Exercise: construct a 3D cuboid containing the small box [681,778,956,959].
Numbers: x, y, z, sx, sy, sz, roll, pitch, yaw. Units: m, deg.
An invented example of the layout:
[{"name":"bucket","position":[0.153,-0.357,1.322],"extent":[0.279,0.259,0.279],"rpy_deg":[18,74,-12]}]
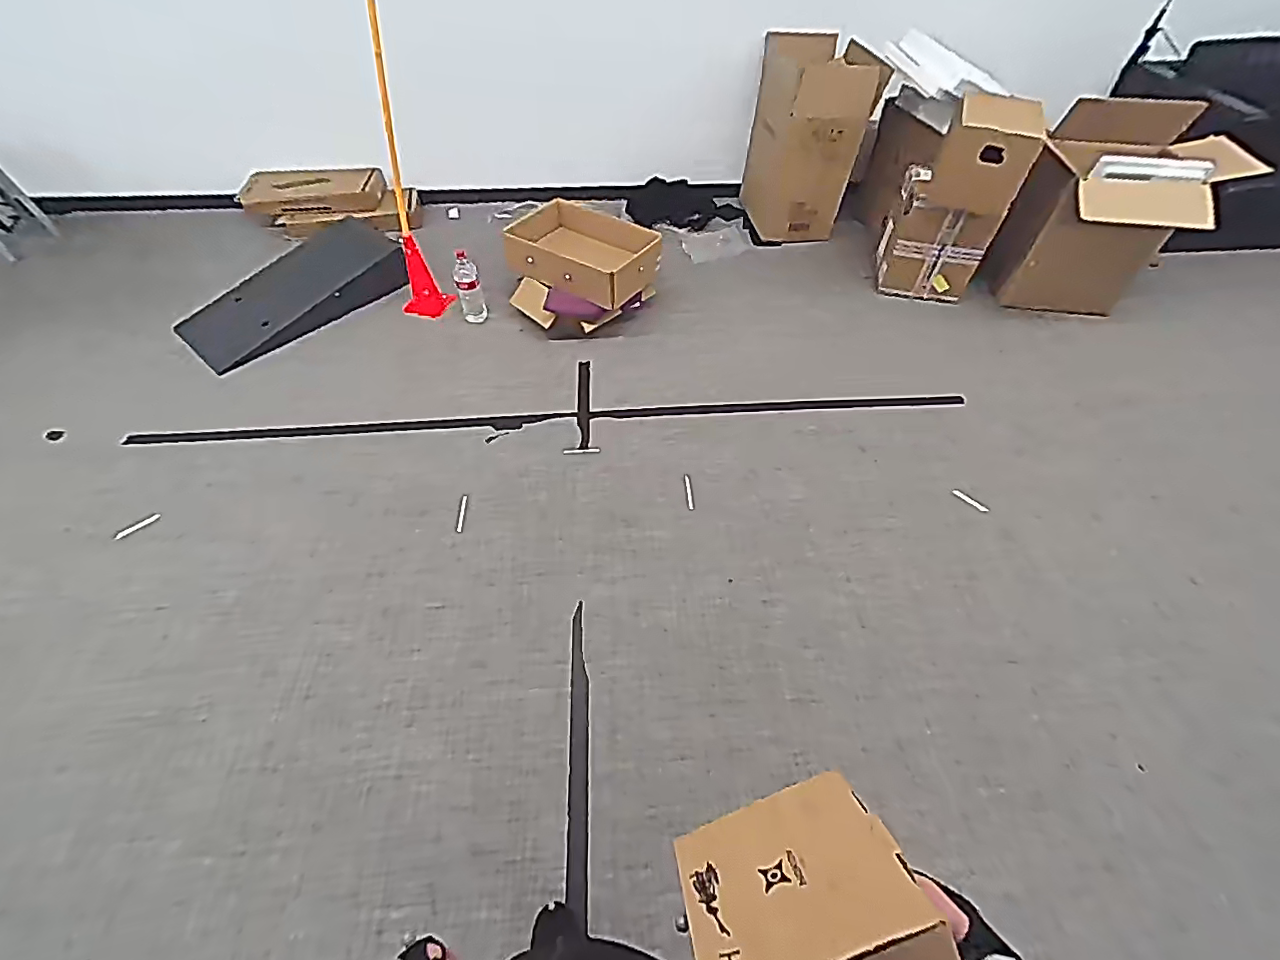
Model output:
[{"name":"small box","position":[0.154,0.407,0.461],"extent":[0.179,0.168,0.176],"rpy_deg":[-21,95,-3]}]
